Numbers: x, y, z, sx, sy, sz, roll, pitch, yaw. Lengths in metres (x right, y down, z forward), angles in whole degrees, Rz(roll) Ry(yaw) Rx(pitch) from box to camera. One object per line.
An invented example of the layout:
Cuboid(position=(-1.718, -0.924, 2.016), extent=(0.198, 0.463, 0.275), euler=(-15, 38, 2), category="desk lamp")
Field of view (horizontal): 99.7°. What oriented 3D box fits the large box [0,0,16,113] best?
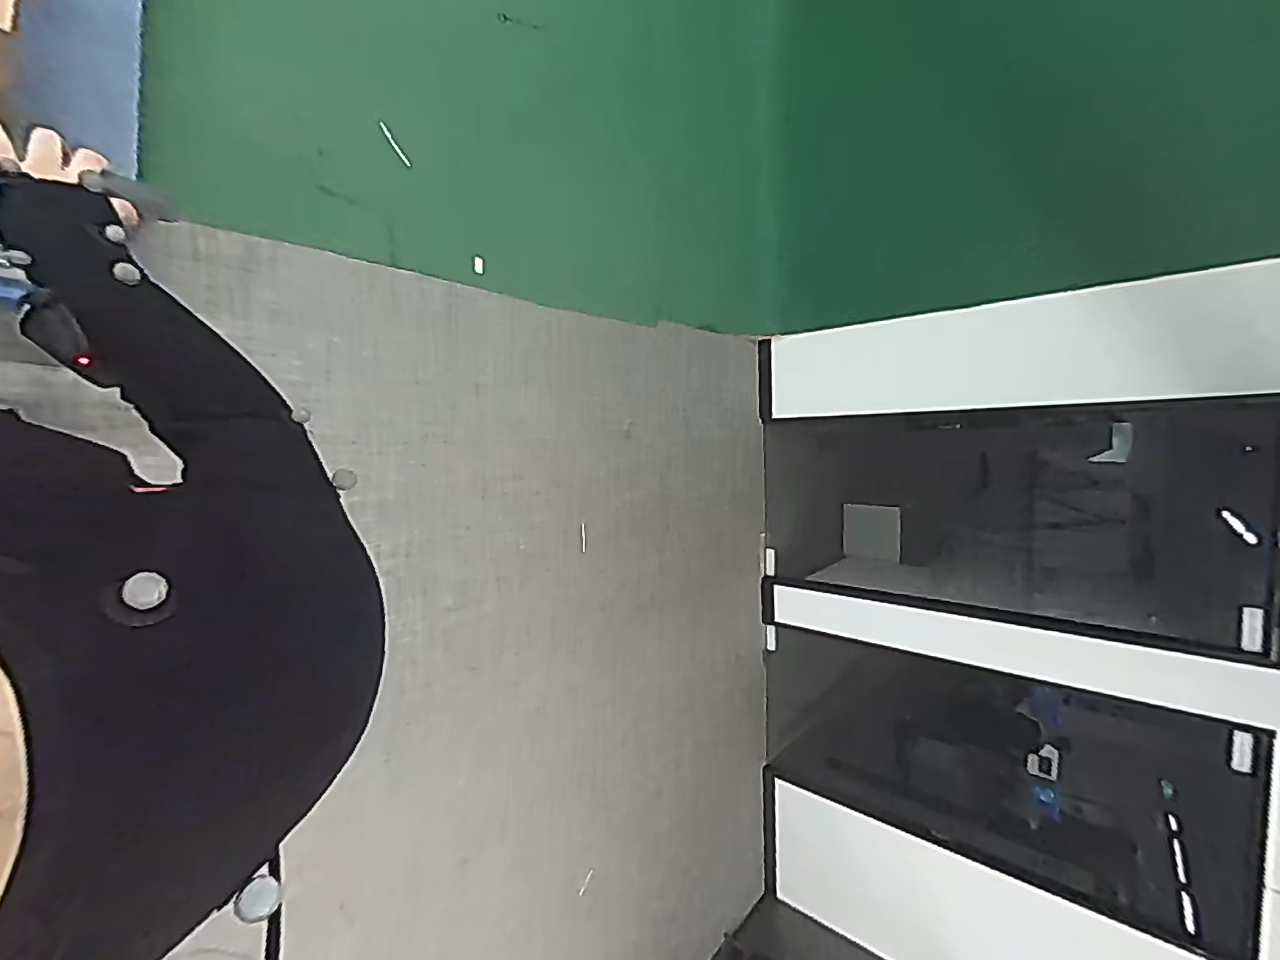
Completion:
Cuboid(position=(-1.047, -0.750, 0.642), extent=(0.408, 0.320, 0.320), euler=(5, 88, -51), category="large box")
